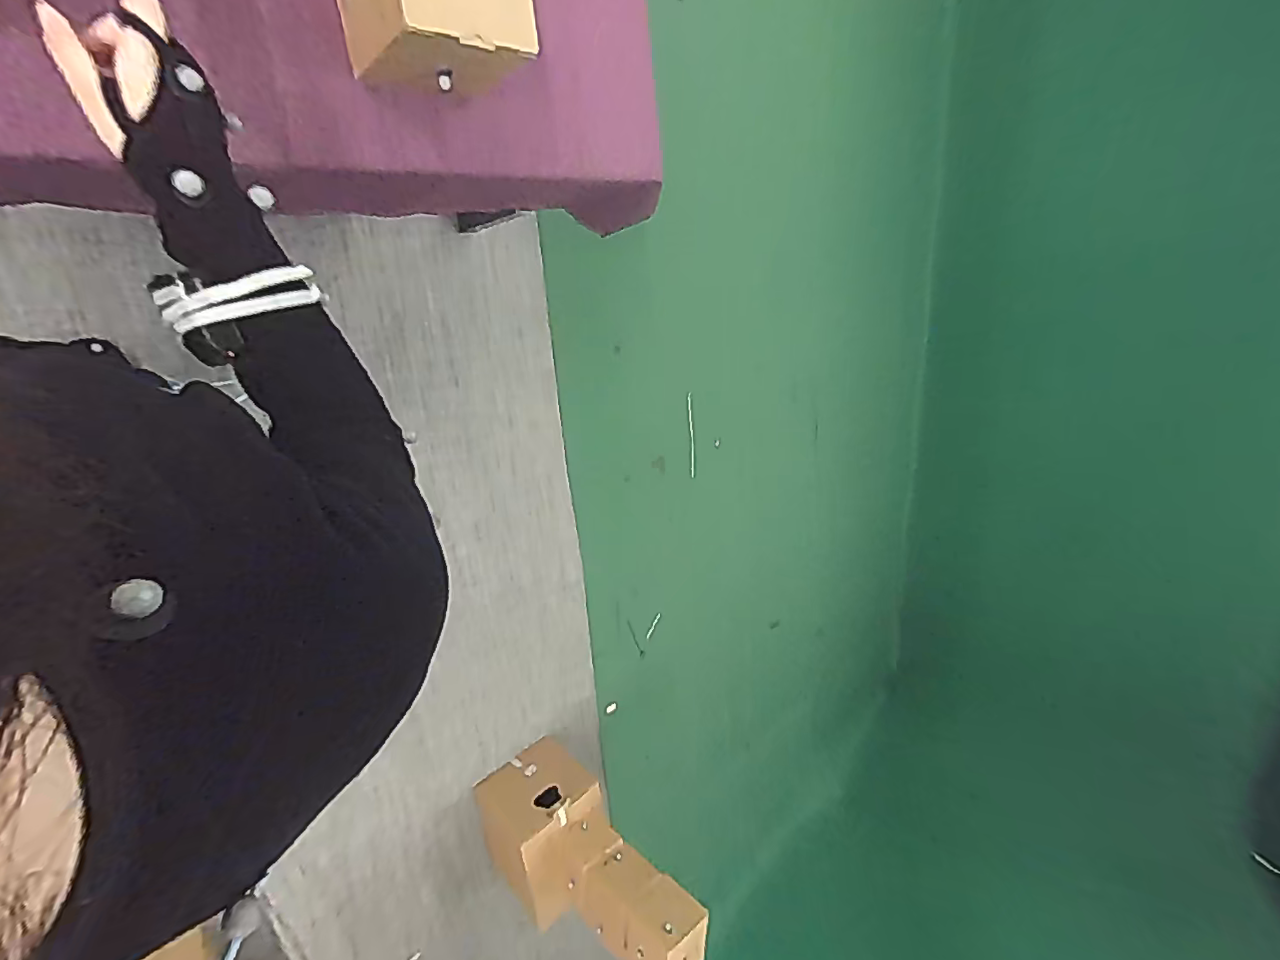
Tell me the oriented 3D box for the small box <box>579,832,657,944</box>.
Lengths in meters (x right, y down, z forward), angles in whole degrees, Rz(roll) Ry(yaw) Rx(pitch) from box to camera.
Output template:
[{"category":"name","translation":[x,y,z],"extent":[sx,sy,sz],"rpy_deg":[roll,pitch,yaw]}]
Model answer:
[{"category":"small box","translation":[-0.069,1.224,1.639],"extent":[0.168,0.176,0.179],"rpy_deg":[-4,103,-45]}]

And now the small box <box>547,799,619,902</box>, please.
[{"category":"small box","translation":[-0.186,1.186,1.746],"extent":[0.168,0.176,0.179],"rpy_deg":[-9,106,-44]}]

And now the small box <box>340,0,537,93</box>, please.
[{"category":"small box","translation":[-0.245,-0.588,0.637],"extent":[0.168,0.176,0.179],"rpy_deg":[-22,116,-39]}]

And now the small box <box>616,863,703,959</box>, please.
[{"category":"small box","translation":[0.051,1.248,1.529],"extent":[0.179,0.176,0.168],"rpy_deg":[-3,103,-45]}]

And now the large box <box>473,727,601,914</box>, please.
[{"category":"large box","translation":[-0.354,1.191,1.928],"extent":[0.320,0.320,0.408],"rpy_deg":[-22,117,-39]}]
